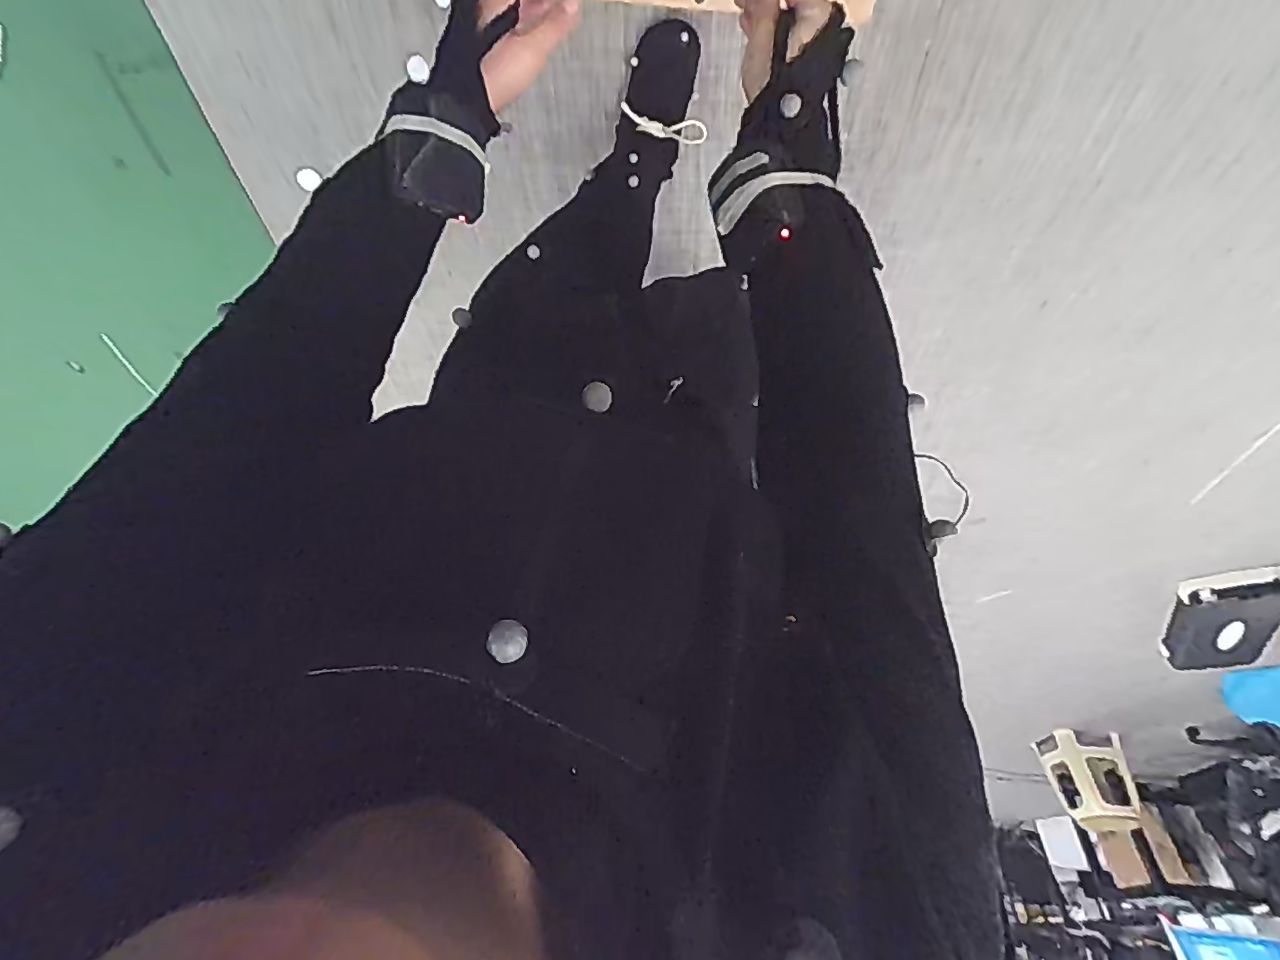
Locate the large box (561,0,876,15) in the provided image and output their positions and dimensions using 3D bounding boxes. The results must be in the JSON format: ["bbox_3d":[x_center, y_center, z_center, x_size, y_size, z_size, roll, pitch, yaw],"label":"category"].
[{"bbox_3d":[0.094,-0.784,0.636,0.408,0.320,0.320,4,140,0],"label":"large box"}]
